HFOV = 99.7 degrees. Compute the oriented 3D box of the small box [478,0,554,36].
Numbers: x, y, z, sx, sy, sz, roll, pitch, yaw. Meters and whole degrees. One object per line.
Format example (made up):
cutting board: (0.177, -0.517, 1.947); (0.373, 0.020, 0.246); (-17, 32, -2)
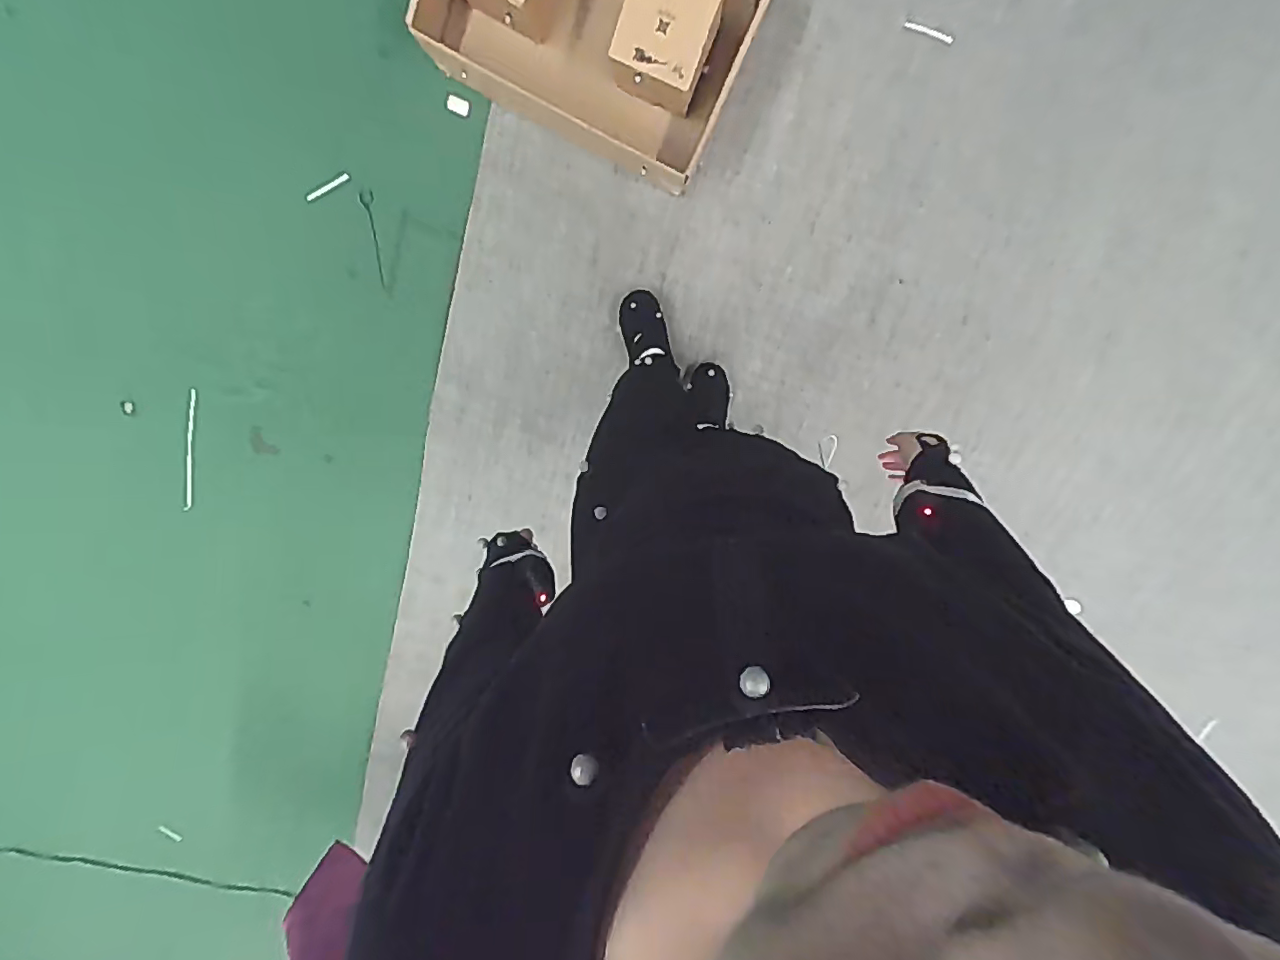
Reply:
small box: (-0.246, -1.007, 1.031); (0.168, 0.176, 0.179); (26, 108, -7)
